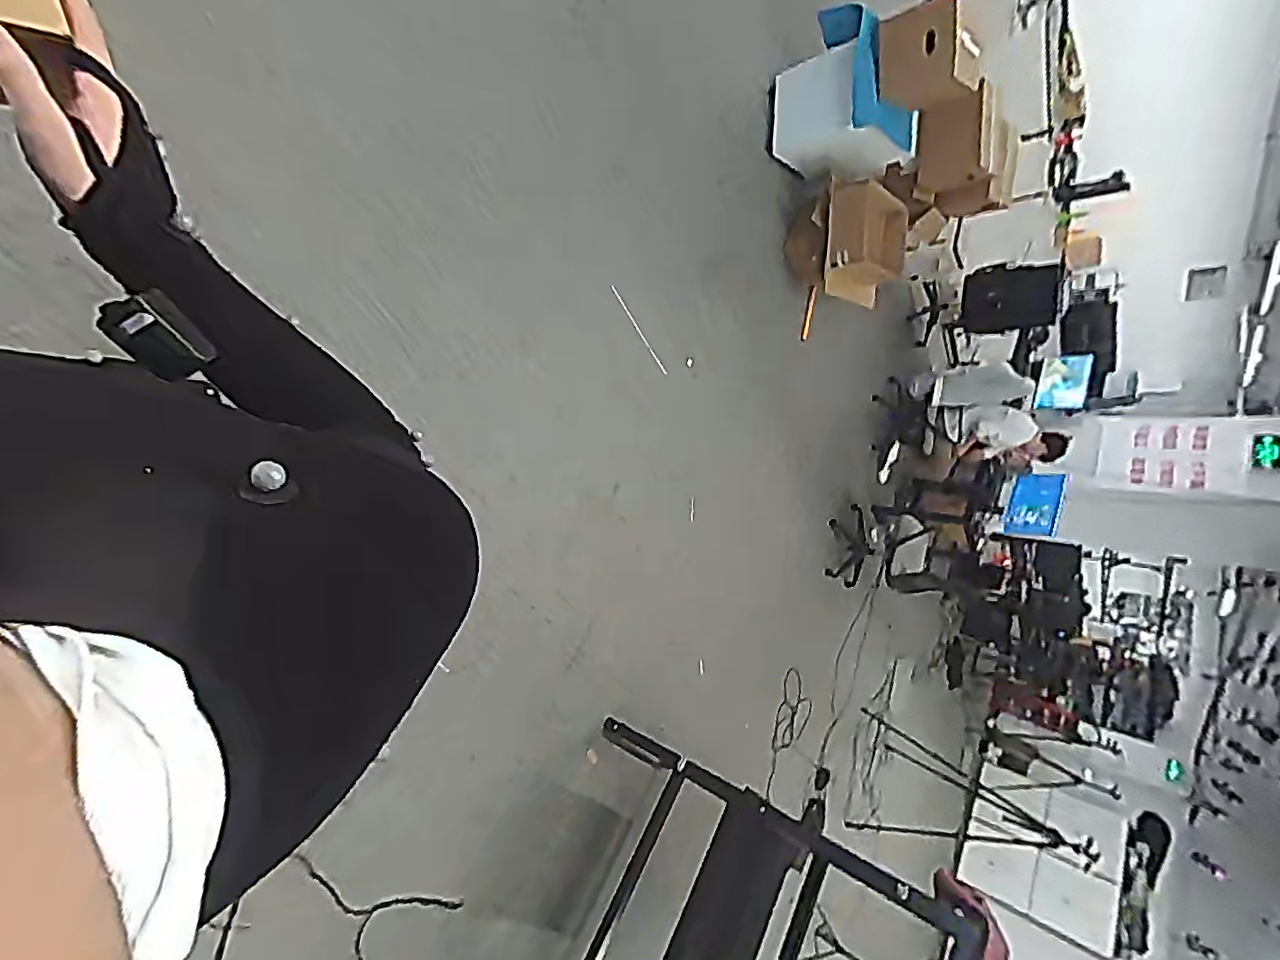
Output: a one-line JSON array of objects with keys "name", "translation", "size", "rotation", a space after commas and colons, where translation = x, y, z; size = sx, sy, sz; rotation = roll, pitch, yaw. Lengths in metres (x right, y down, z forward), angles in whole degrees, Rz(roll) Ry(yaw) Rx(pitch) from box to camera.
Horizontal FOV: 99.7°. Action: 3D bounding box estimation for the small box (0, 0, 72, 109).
[{"name": "small box", "translation": [-0.482, -0.349, 0.319], "size": [0.179, 0.176, 0.168], "rotation": [-20, 113, -43]}]
